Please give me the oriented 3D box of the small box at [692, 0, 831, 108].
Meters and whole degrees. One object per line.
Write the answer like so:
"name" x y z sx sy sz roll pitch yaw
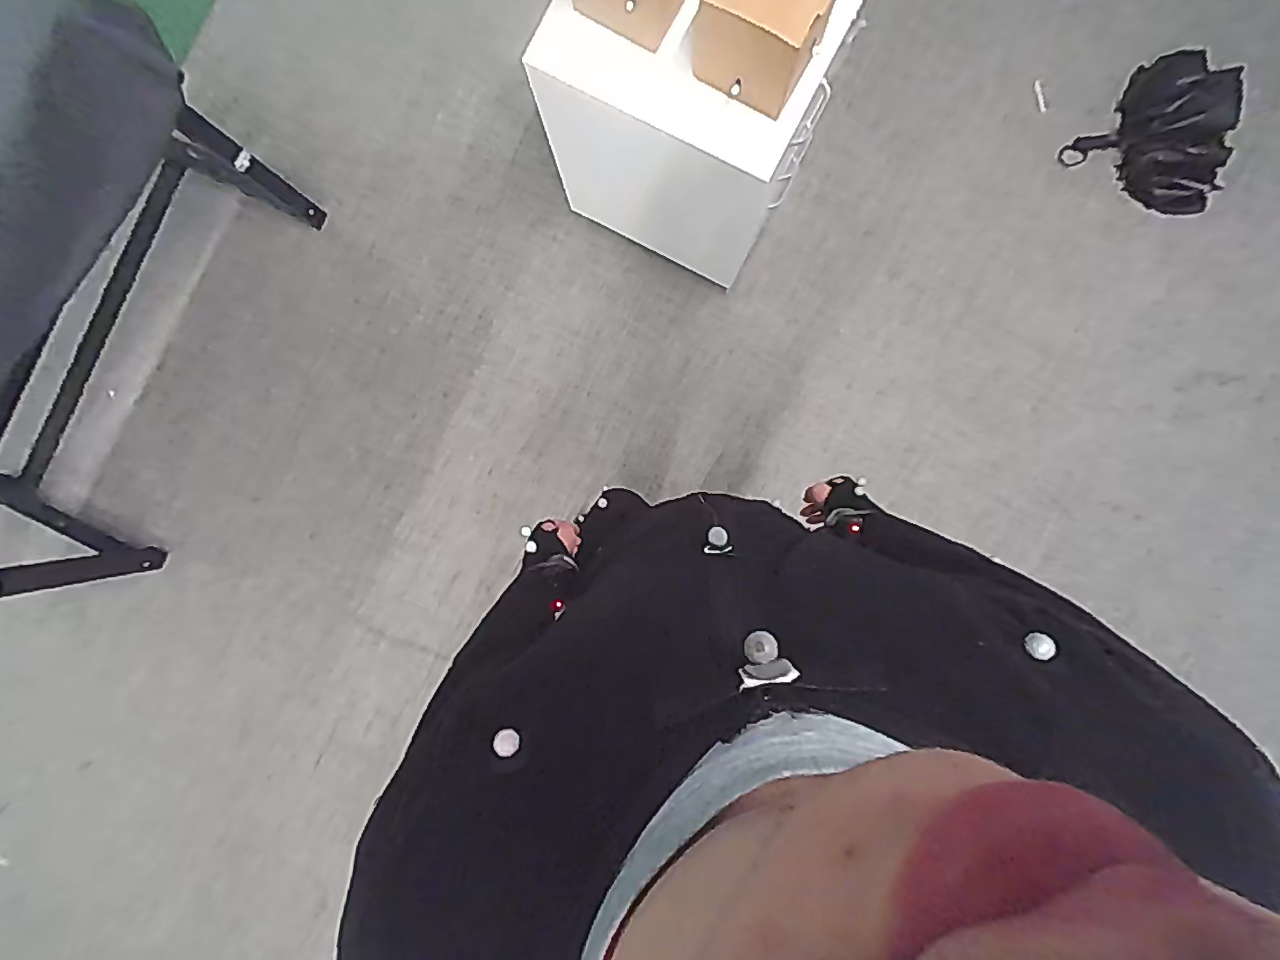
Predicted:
"small box" 0.201 -0.757 0.882 0.179 0.176 0.168 29 91 0

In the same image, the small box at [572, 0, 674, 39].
"small box" -0.014 -0.883 0.885 0.179 0.176 0.168 29 90 1
